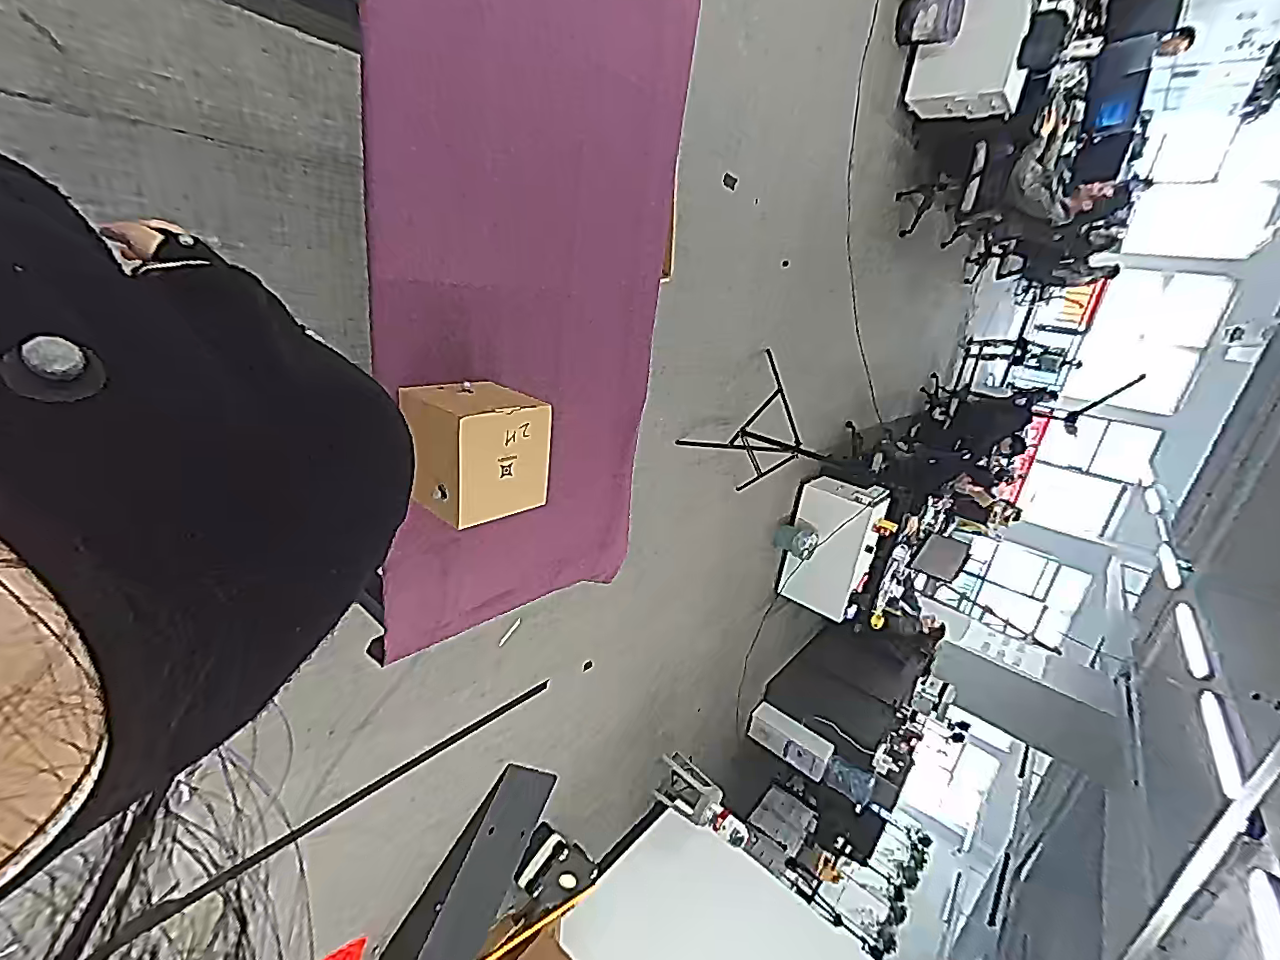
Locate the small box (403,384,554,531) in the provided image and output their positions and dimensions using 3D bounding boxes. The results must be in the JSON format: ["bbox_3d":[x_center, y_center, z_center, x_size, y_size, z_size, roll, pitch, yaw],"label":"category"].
[{"bbox_3d":[-0.259,-0.045,0.863,0.168,0.176,0.179,-17,122,-48],"label":"small box"}]
